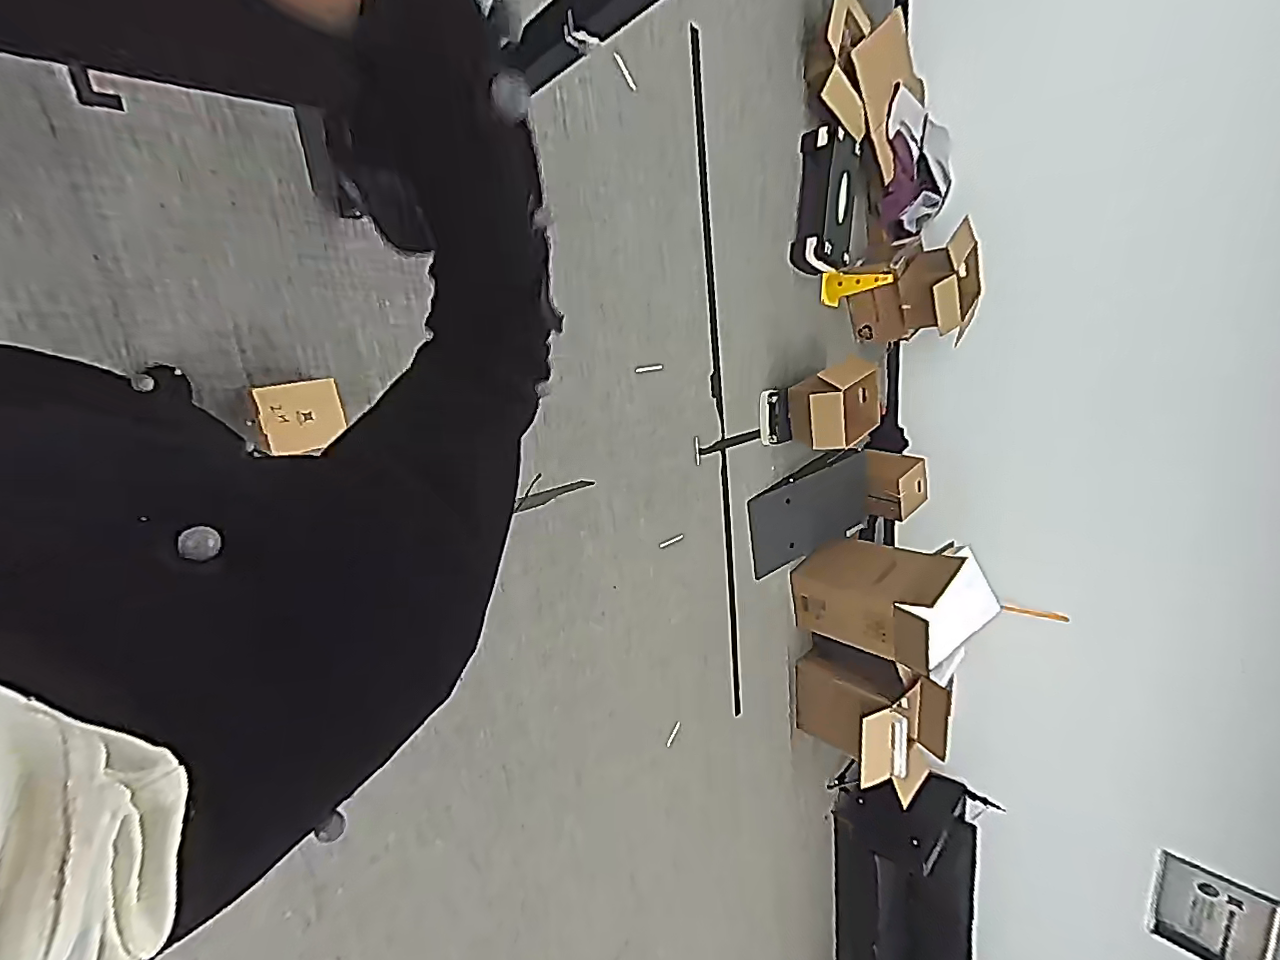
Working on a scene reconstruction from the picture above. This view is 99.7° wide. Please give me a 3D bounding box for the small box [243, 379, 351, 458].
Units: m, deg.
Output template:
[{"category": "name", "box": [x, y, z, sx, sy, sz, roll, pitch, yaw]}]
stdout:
[{"category": "small box", "box": [-0.862, -0.162, 1.358, 0.179, 0.176, 0.168, -20, 111, -39]}]
